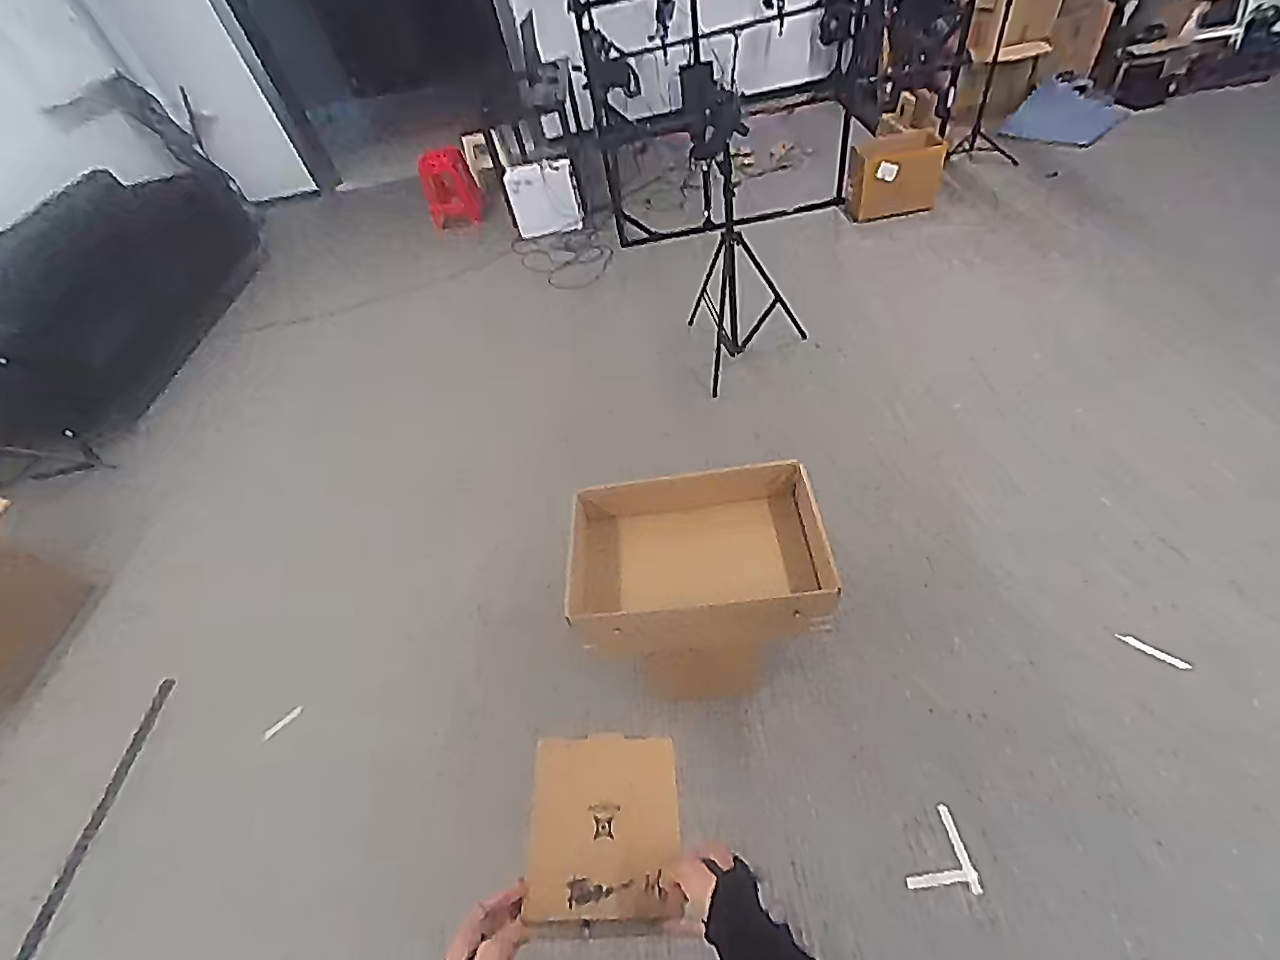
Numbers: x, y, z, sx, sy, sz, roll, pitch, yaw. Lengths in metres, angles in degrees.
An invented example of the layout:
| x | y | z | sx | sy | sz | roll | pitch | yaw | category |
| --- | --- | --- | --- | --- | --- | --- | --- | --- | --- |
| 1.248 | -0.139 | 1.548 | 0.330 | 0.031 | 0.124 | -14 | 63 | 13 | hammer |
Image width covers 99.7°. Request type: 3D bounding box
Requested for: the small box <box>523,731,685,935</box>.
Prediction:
| x | y | z | sx | sy | sz | roll | pitch | yaw | category |
| --- | --- | --- | --- | --- | --- | --- | --- | --- | --- |
| -0.043 | 0.426 | 0.655 | 0.168 | 0.176 | 0.179 | 1 | 44 | -3 | small box |
